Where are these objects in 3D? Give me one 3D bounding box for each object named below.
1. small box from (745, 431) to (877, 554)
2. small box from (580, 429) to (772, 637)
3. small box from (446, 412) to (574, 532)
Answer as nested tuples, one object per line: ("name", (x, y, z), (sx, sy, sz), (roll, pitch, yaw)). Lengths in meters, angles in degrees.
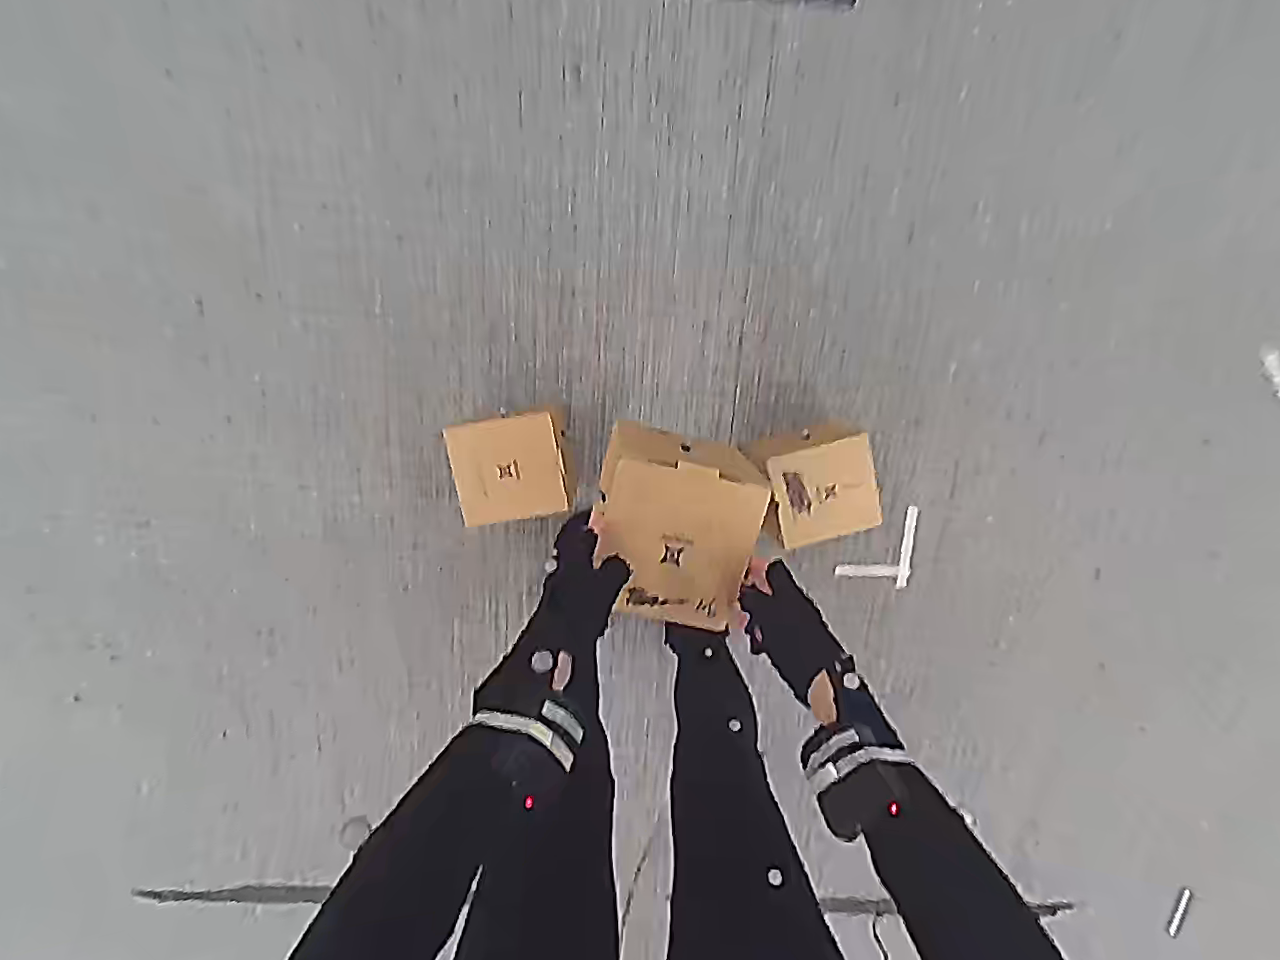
("small box", (0.300, 0.015, 0.985), (0.179, 0.176, 0.168), (-14, 103, 0))
("small box", (0.029, 0.051, 0.637), (0.168, 0.176, 0.179), (14, 107, -8))
("small box", (-0.216, -0.022, 0.953), (0.179, 0.176, 0.168), (-9, 102, 0))
